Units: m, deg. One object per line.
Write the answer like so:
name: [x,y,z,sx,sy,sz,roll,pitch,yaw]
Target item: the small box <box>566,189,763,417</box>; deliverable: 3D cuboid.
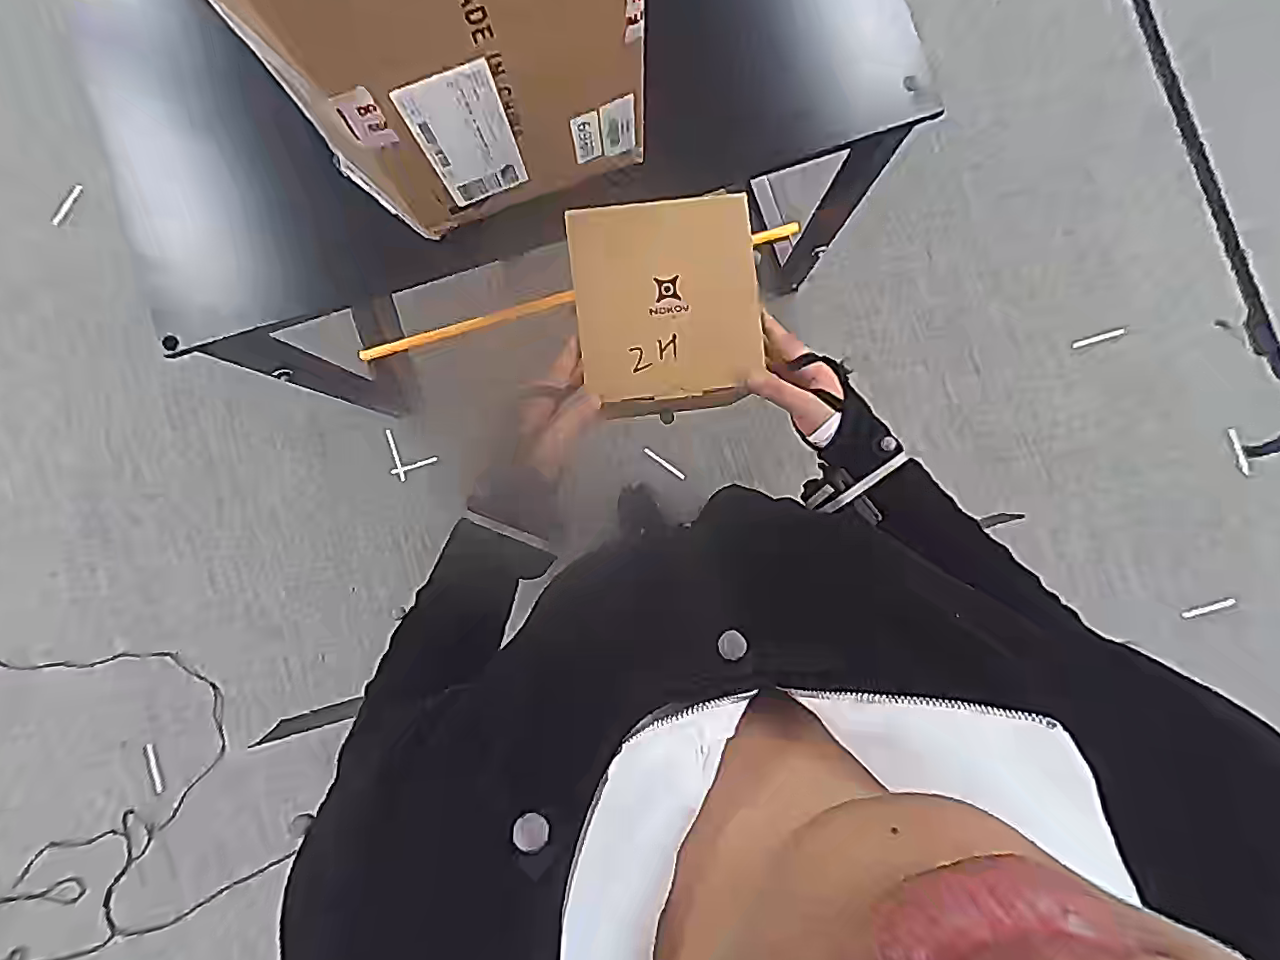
small box: [0.019,-0.168,0.563,0.168,0.176,0.179,-7,91,-1]
